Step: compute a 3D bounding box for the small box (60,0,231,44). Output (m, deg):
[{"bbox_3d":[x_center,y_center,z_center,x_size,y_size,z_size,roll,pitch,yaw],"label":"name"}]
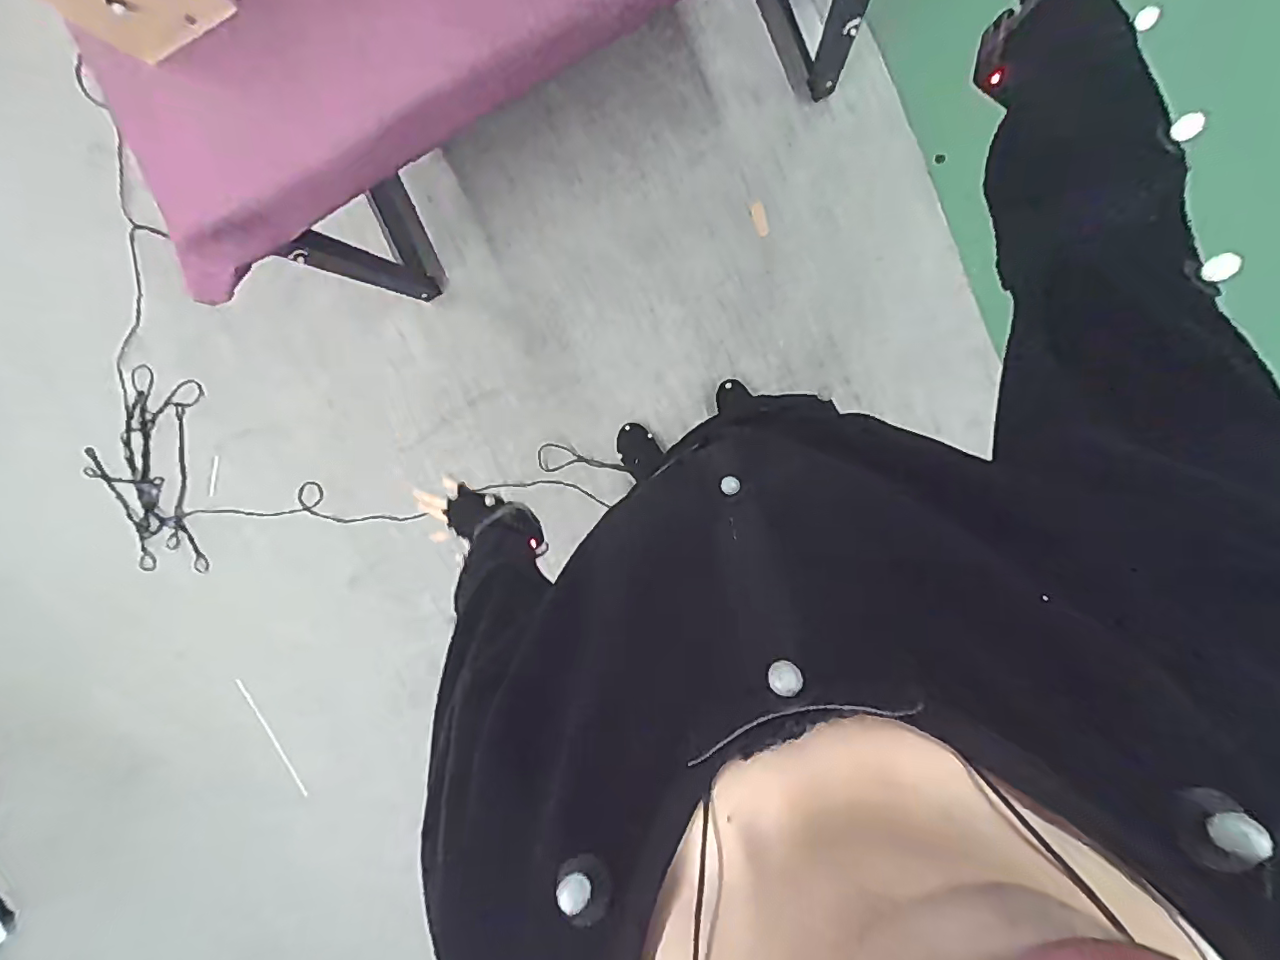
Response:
[{"bbox_3d":[-0.675,-0.706,0.683,0.168,0.176,0.179,-20,96,10],"label":"small box"}]
